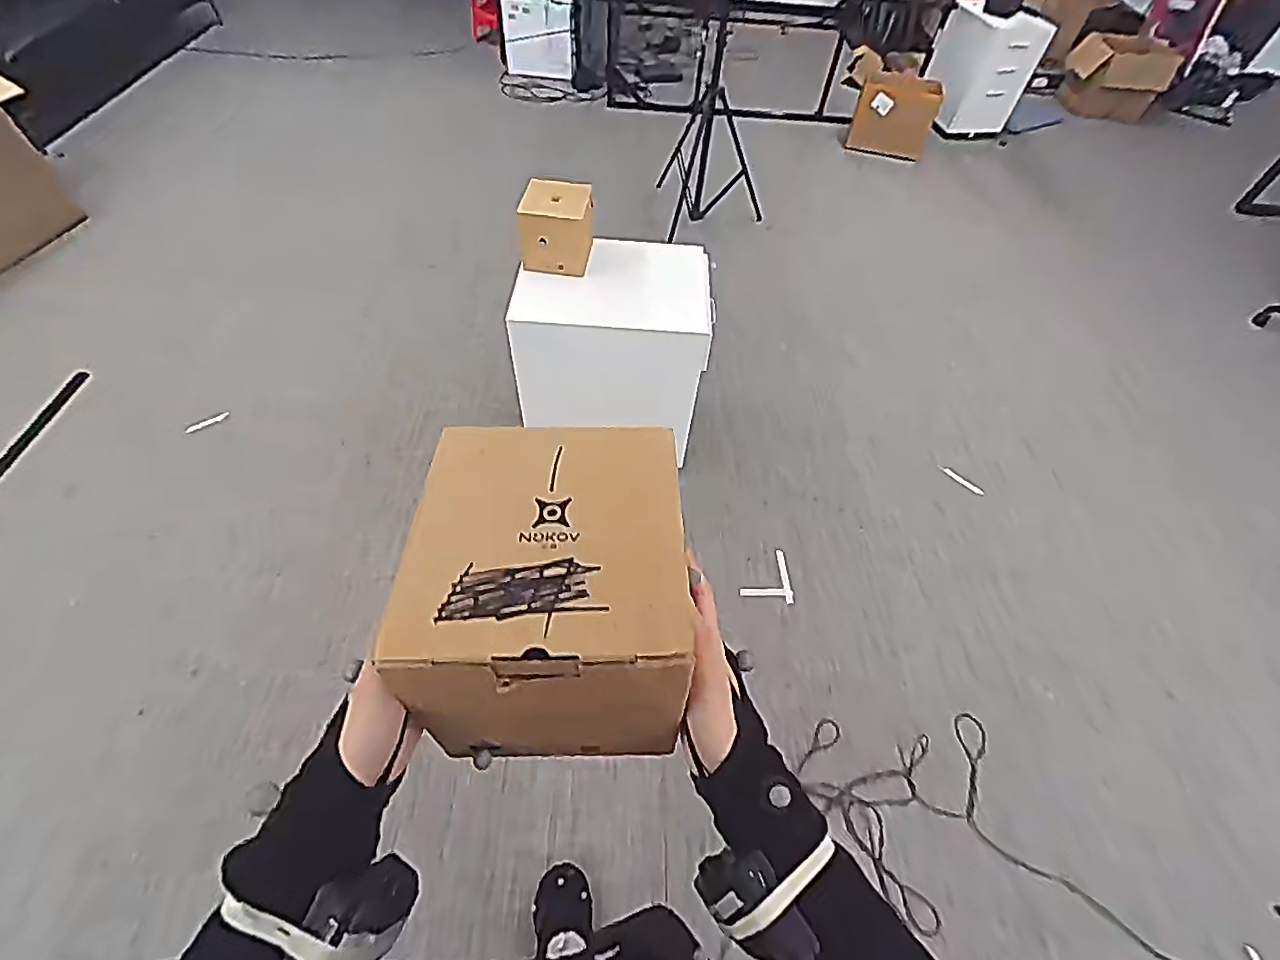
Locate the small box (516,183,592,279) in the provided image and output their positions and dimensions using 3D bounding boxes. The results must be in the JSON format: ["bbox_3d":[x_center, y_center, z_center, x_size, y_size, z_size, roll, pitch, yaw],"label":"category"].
[{"bbox_3d":[-0.221,-0.660,1.442,0.168,0.176,0.179,6,54,0],"label":"small box"}]
